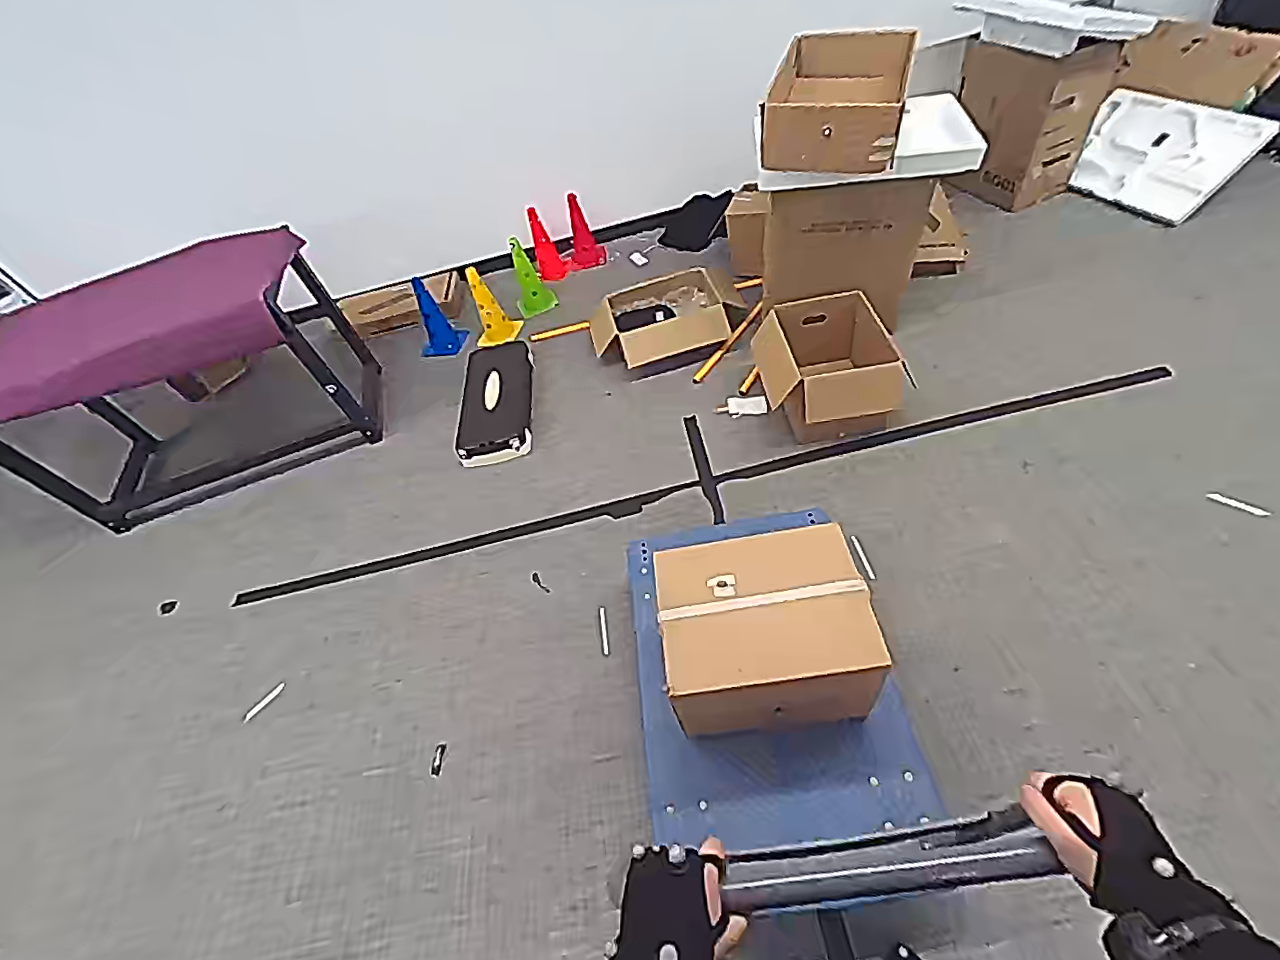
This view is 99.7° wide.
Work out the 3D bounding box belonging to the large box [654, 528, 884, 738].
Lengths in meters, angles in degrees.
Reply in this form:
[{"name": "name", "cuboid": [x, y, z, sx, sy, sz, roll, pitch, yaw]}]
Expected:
[{"name": "large box", "cuboid": [0.267, 0.350, 1.202, 0.408, 0.320, 0.320, -11, 49, 6]}]
